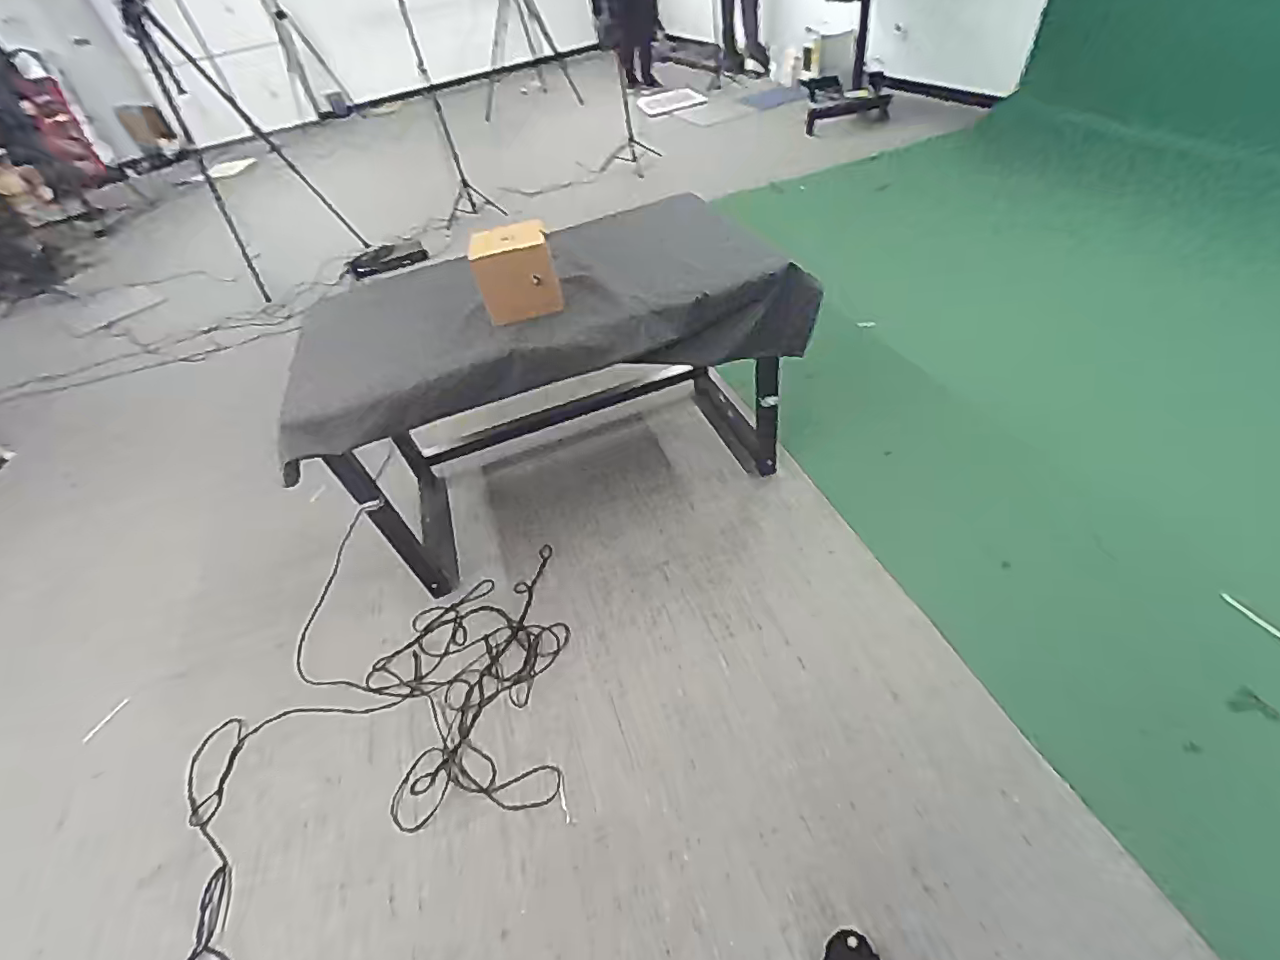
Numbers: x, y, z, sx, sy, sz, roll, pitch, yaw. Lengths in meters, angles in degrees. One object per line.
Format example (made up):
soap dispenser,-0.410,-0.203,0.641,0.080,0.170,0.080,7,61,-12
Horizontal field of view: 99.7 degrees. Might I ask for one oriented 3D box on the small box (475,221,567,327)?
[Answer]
small box,-0.279,-0.493,1.300,0.179,0.176,0.168,-14,44,-1
